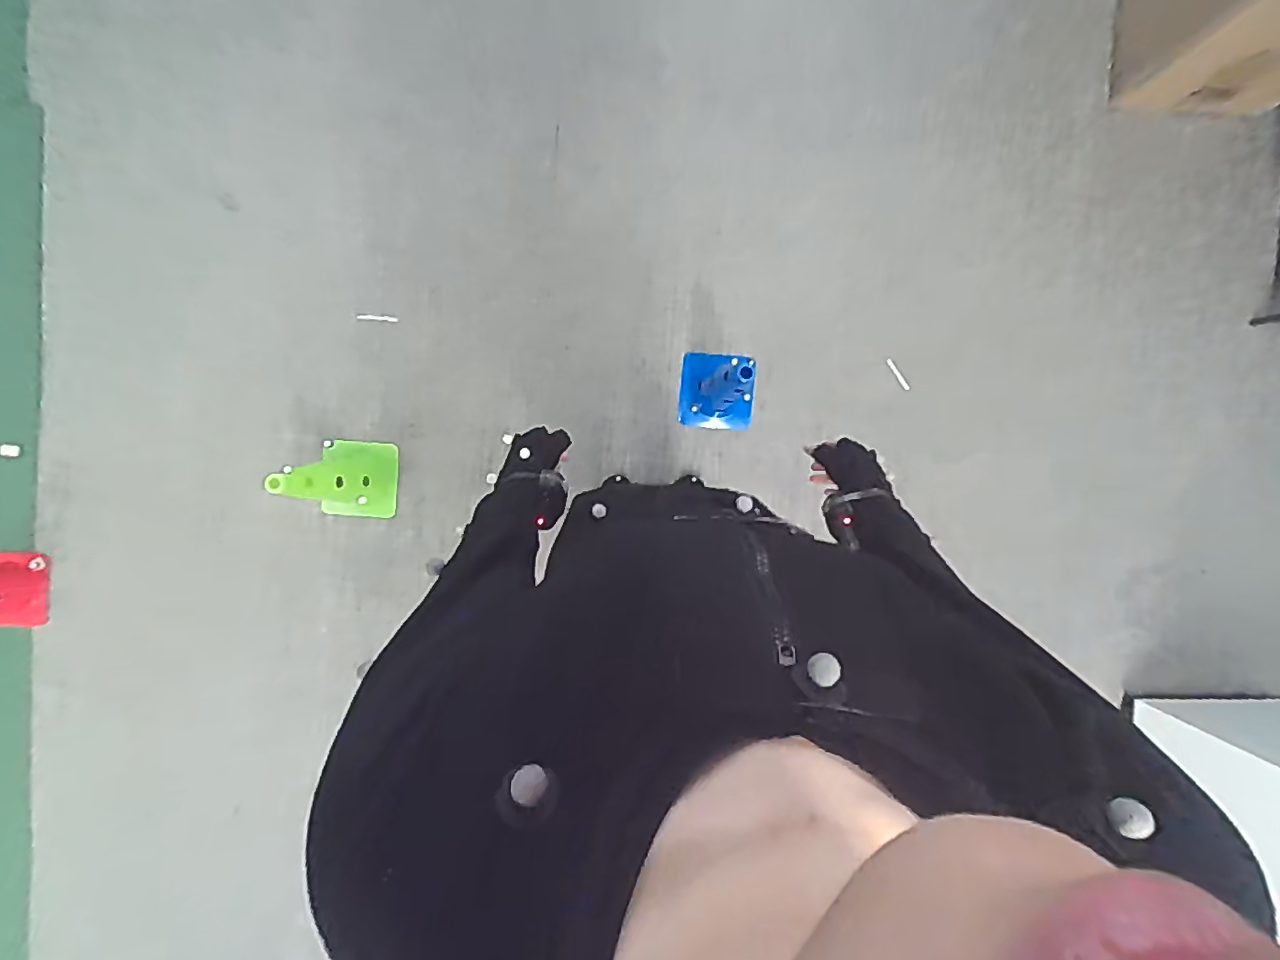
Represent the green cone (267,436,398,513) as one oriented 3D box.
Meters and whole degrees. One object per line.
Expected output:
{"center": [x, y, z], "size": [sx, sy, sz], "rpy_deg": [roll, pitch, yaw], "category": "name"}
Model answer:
{"center": [-0.745, -0.005, 1.272], "size": [0.202, 0.368, 0.200], "rpy_deg": [3, 93, -2], "category": "green cone"}
